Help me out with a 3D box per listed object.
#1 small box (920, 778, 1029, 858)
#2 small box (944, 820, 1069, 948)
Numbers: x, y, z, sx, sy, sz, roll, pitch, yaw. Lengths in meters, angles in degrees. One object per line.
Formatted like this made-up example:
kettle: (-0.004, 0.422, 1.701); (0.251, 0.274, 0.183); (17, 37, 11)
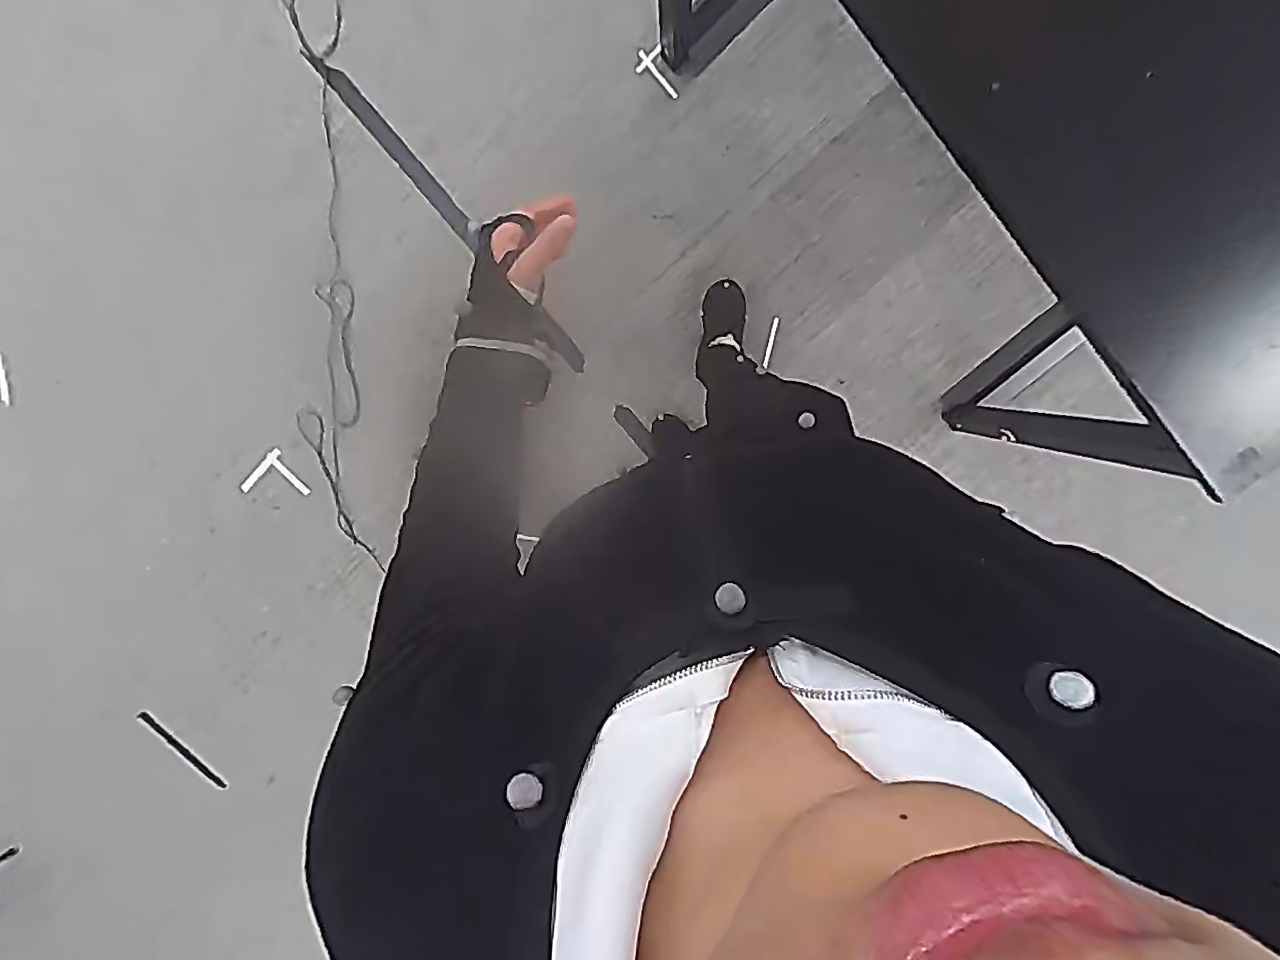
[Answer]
small box: (0.959, 1.014, 1.569); (0.179, 0.176, 0.168); (-40, 96, 10)
small box: (0.943, 1.042, 1.407); (0.168, 0.176, 0.179); (-40, 95, 10)
